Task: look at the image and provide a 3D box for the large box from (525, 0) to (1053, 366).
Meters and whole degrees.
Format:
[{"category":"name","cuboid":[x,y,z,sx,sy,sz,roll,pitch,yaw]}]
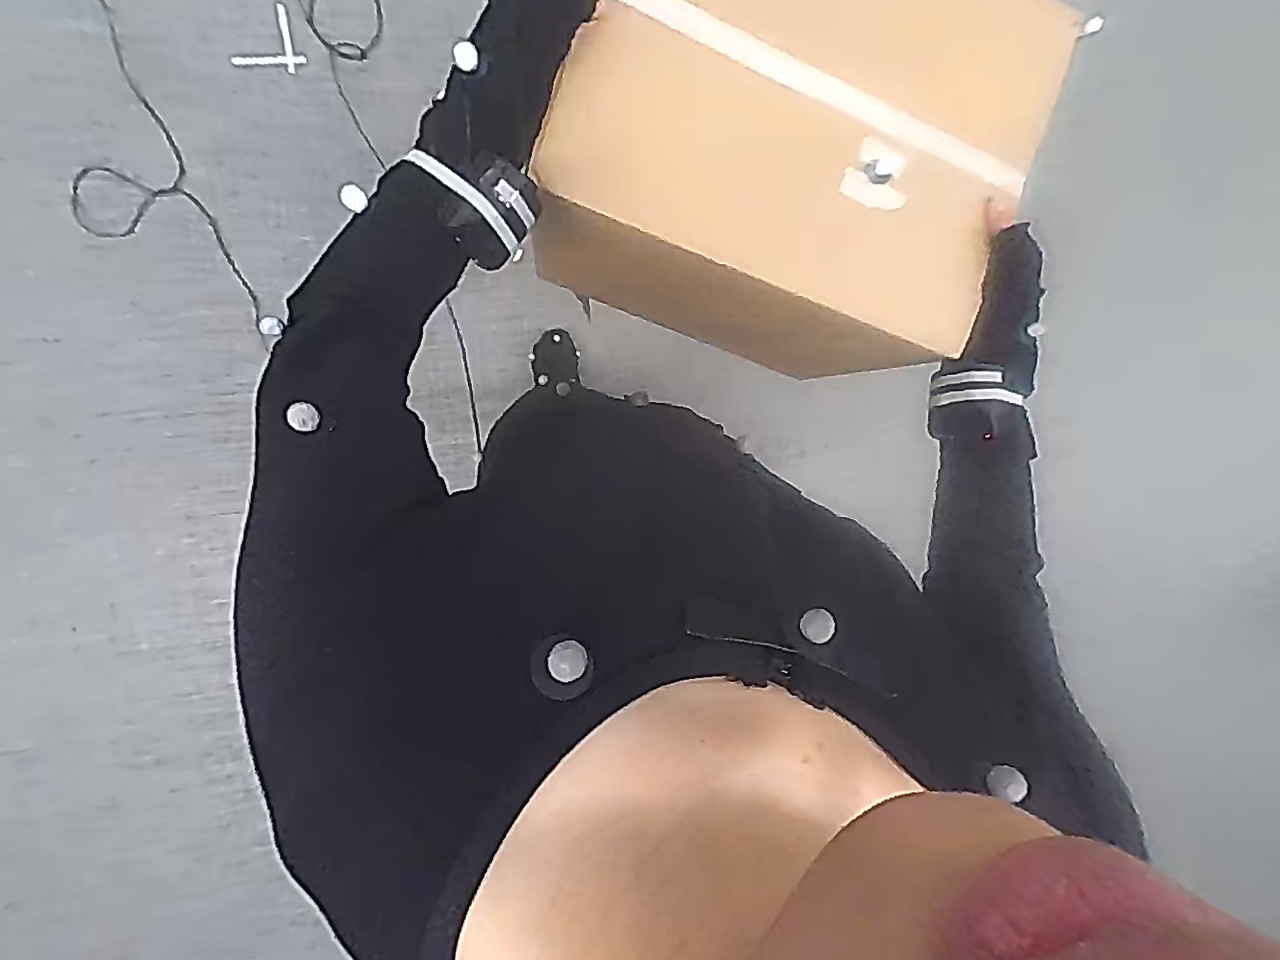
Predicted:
[{"category":"large box","cuboid":[0.112,-0.345,0.595,0.408,0.320,0.320,17,94,-11]}]
